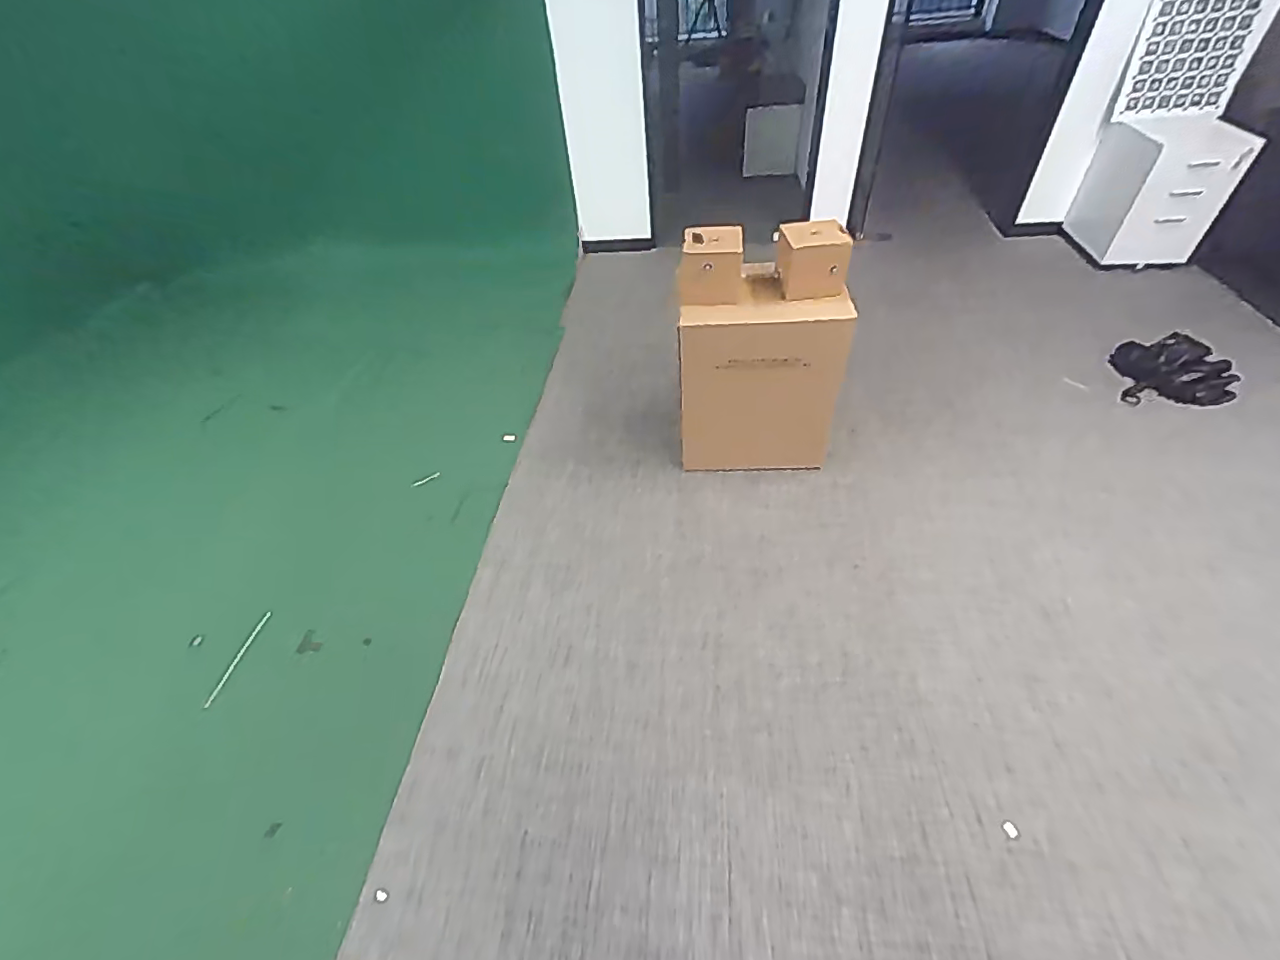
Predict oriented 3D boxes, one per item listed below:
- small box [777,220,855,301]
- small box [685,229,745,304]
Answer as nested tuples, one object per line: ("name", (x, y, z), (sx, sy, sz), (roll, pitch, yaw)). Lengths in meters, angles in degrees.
("small box", (0.532, -0.671, 1.661), (0.179, 0.176, 0.168), (-7, 47, 2))
("small box", (0.234, -0.663, 1.686), (0.179, 0.176, 0.168), (2, 49, 8))
